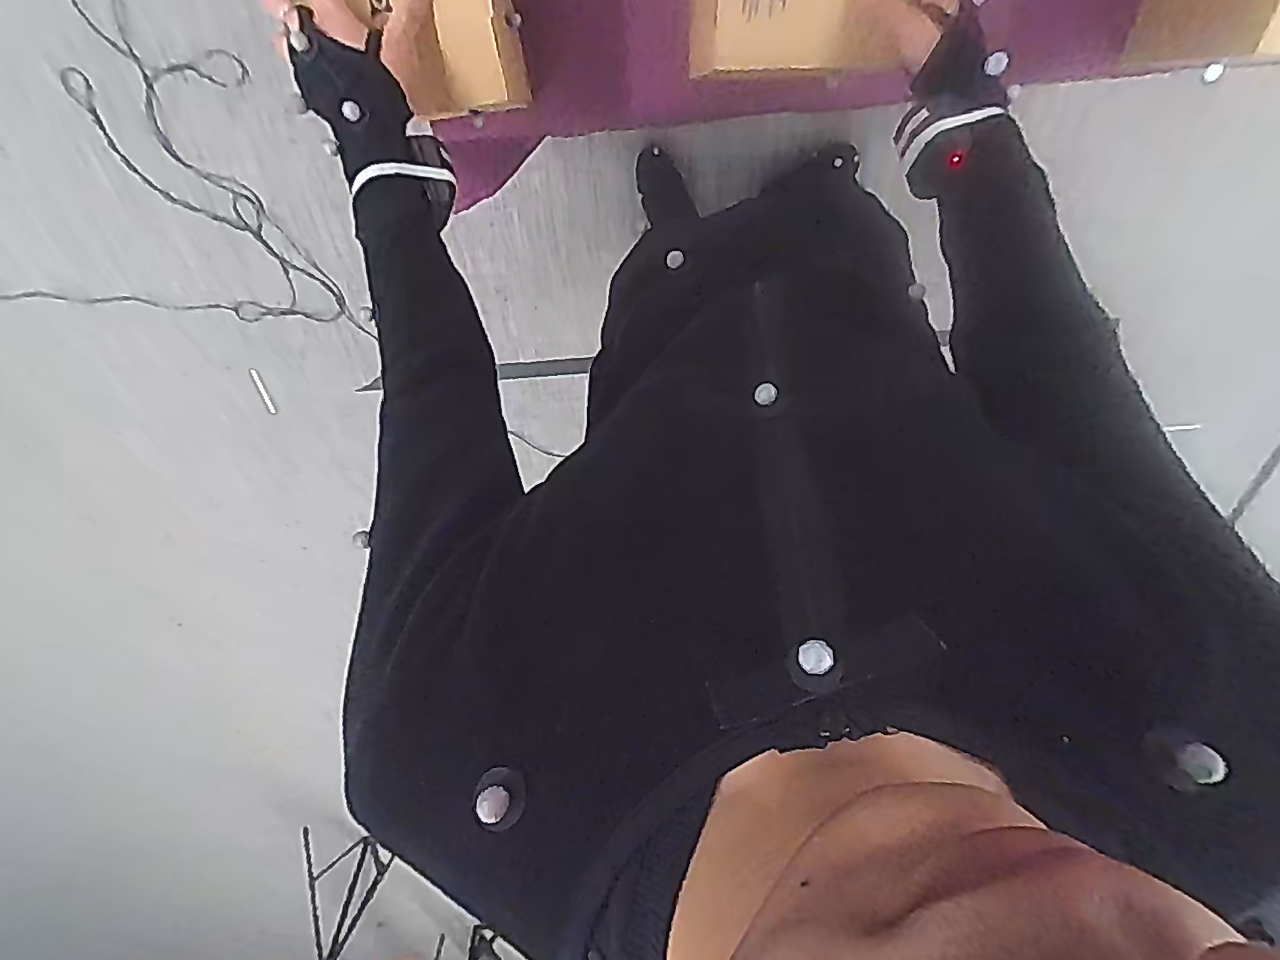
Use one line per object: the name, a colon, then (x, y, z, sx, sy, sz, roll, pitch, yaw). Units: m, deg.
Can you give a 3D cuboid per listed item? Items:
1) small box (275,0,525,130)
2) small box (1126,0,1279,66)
small box: (-0.222, -0.445, 0.521, 0.179, 0.176, 0.168, -9, 124, 1)
small box: (0.640, -0.519, 0.523, 0.168, 0.176, 0.179, -3, 125, -1)
